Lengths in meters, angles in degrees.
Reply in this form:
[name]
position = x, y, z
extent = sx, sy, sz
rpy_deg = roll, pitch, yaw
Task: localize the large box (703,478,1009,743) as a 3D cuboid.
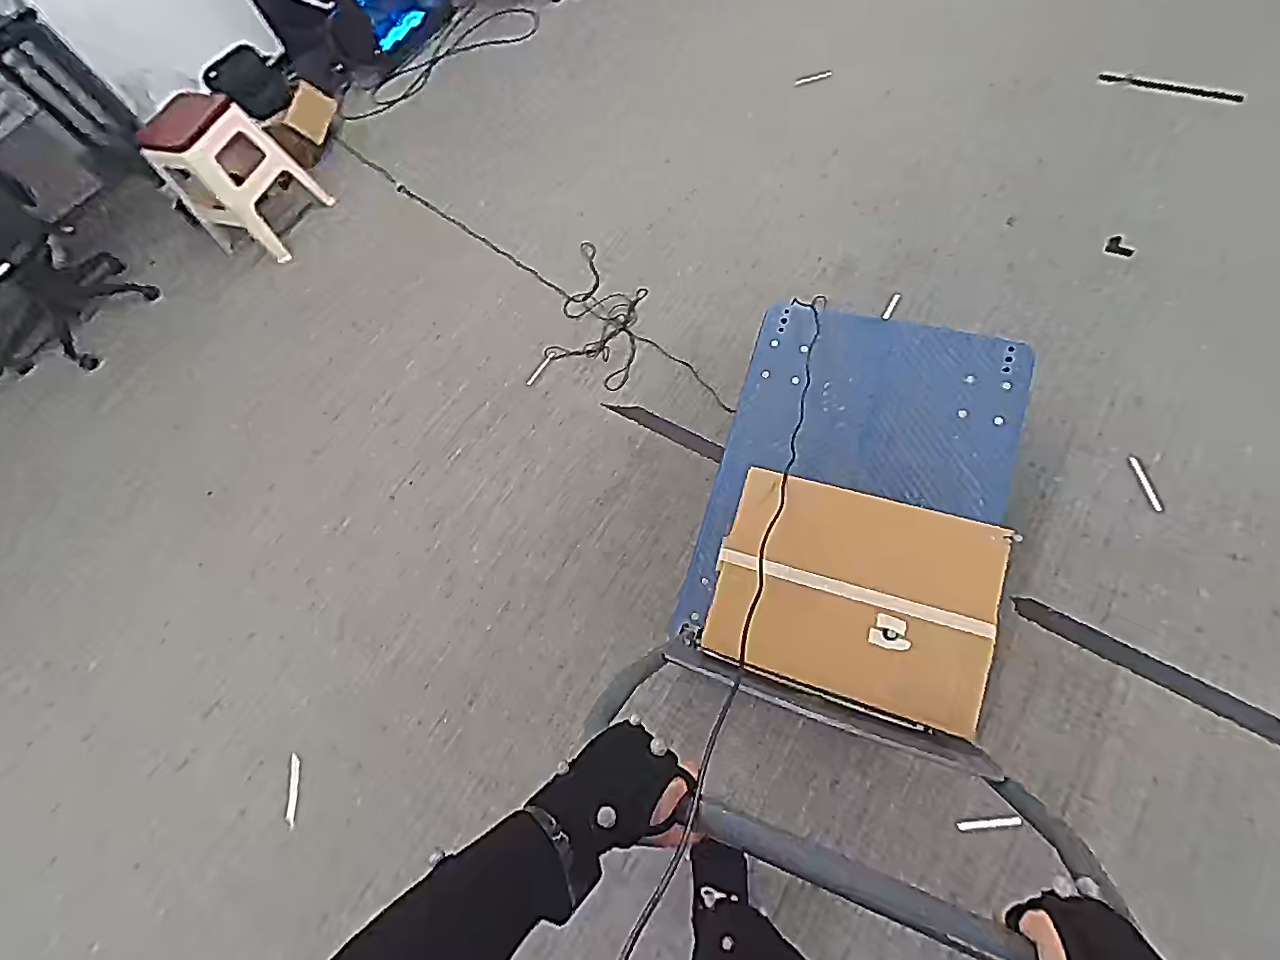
[large box]
position = 0.356, 0.218, 0.976
extent = 0.408, 0.320, 0.320
rpy_deg = 15, 81, 16
